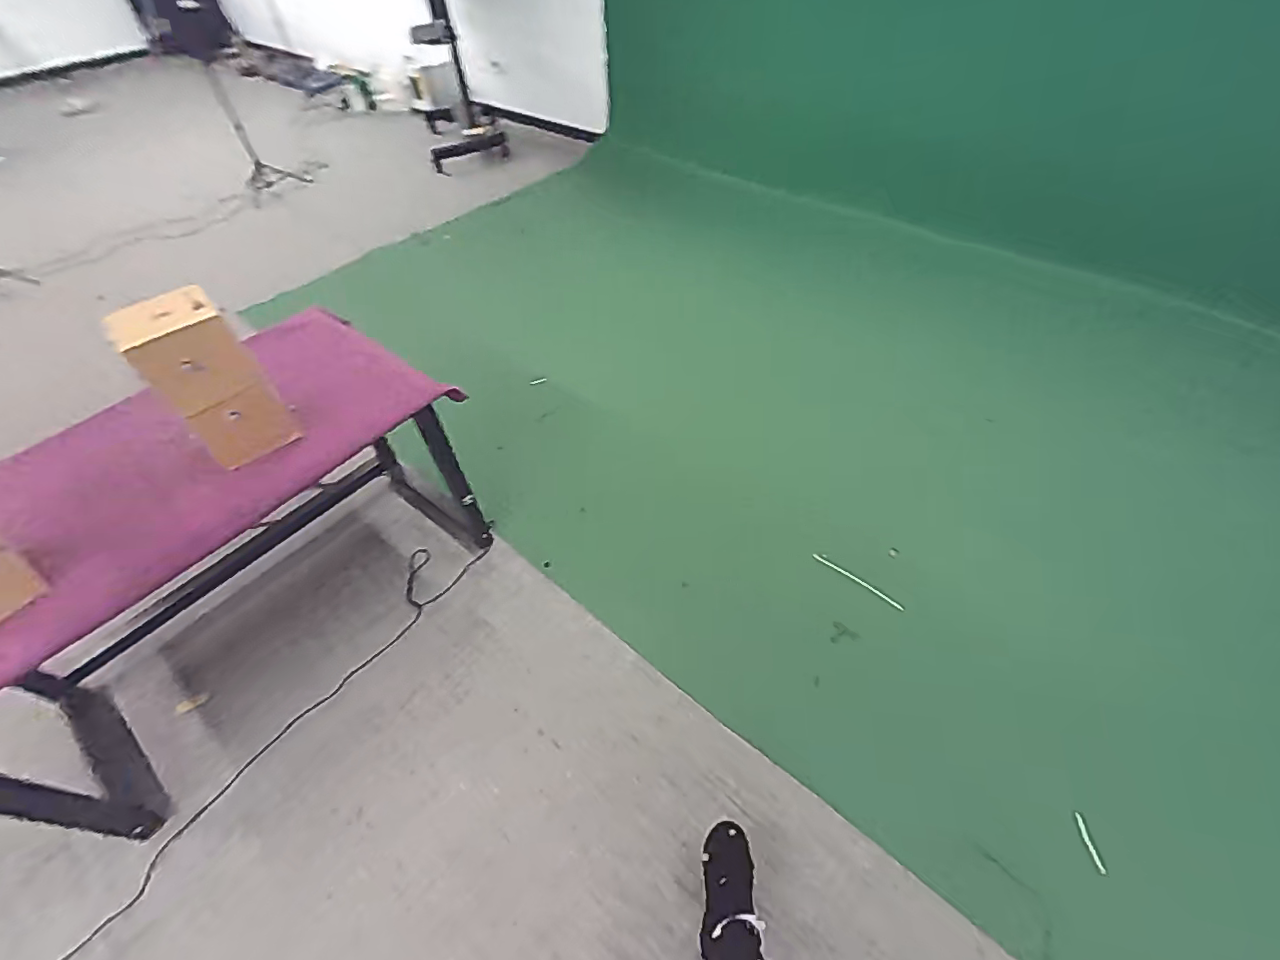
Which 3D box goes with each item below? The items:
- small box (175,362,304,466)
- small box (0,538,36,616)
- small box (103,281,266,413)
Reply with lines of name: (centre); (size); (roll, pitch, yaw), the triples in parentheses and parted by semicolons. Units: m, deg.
small box: (-0.911, -0.163, 1.226); (0.179, 0.176, 0.168); (-33, 56, -23)
small box: (-1.247, 0.172, 0.956); (0.168, 0.176, 0.179); (27, 57, 24)
small box: (-0.917, -0.268, 1.100); (0.179, 0.176, 0.168); (-37, 58, -24)
